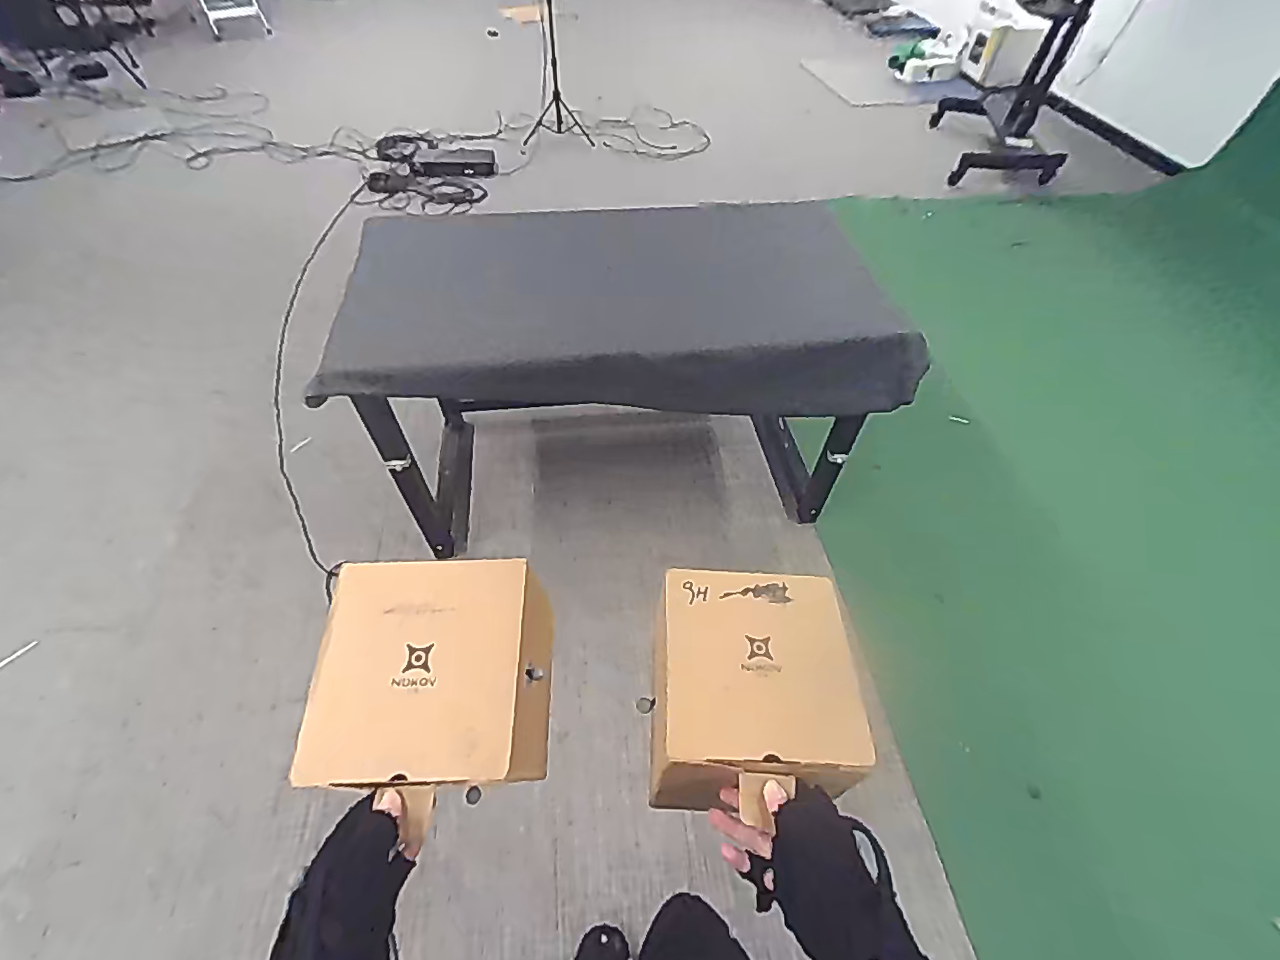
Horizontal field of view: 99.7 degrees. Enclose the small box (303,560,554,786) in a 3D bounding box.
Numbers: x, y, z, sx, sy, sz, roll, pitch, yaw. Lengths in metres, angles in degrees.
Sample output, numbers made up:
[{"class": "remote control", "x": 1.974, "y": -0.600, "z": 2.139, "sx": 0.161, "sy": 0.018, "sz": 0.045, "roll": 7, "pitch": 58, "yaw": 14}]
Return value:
[{"class": "small box", "x": -0.179, "y": 0.189, "z": 0.523, "sx": 0.168, "sy": 0.176, "sz": 0.179, "roll": -2, "pitch": 62, "yaw": 0}]
